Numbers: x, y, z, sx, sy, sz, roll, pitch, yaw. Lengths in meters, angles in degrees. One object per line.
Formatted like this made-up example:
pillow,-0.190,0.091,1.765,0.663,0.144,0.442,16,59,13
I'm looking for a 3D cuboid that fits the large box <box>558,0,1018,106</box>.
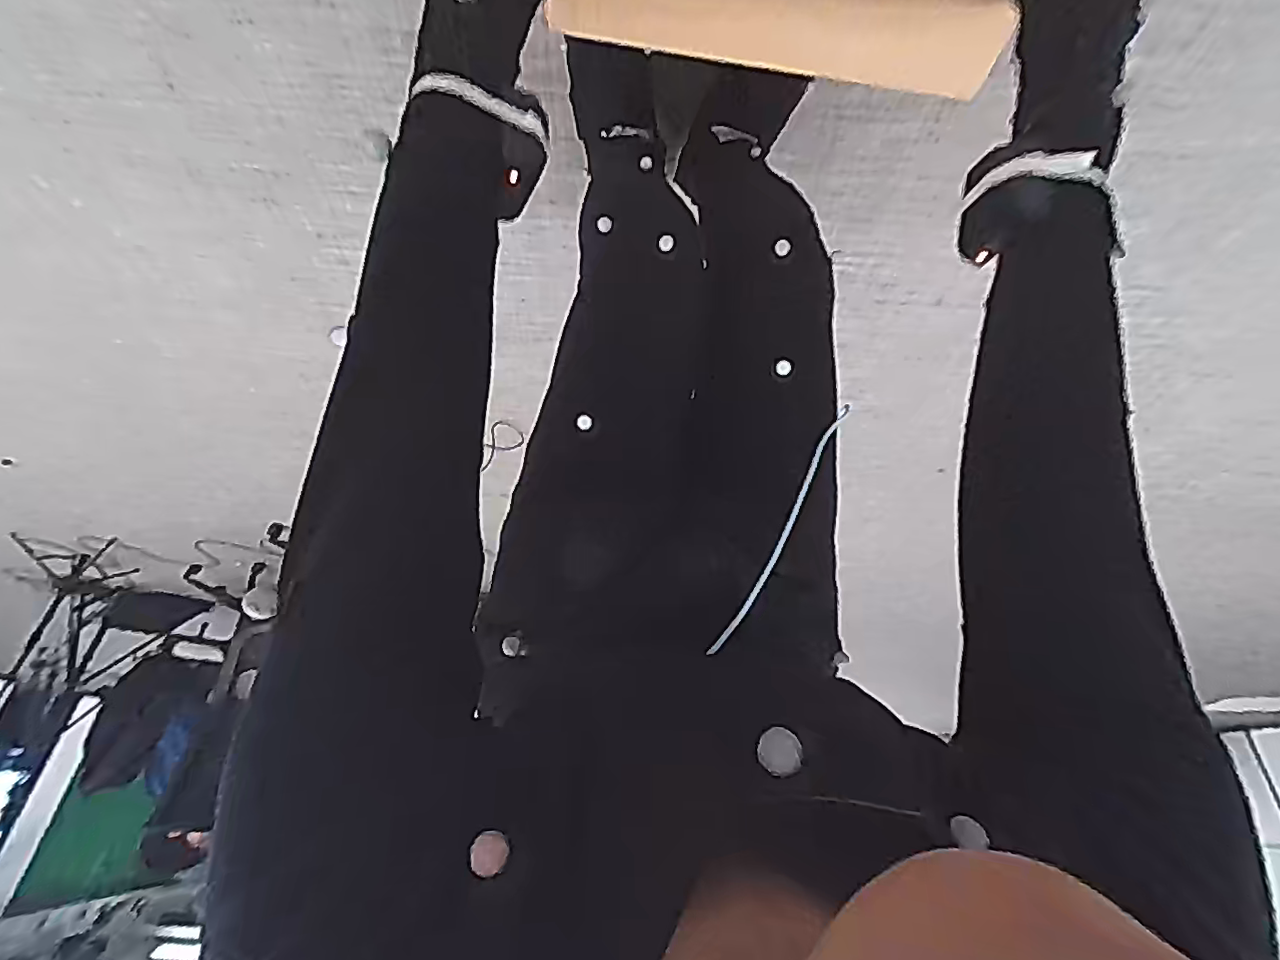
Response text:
large box,0.141,-0.593,0.470,0.408,0.320,0.320,6,149,-5
